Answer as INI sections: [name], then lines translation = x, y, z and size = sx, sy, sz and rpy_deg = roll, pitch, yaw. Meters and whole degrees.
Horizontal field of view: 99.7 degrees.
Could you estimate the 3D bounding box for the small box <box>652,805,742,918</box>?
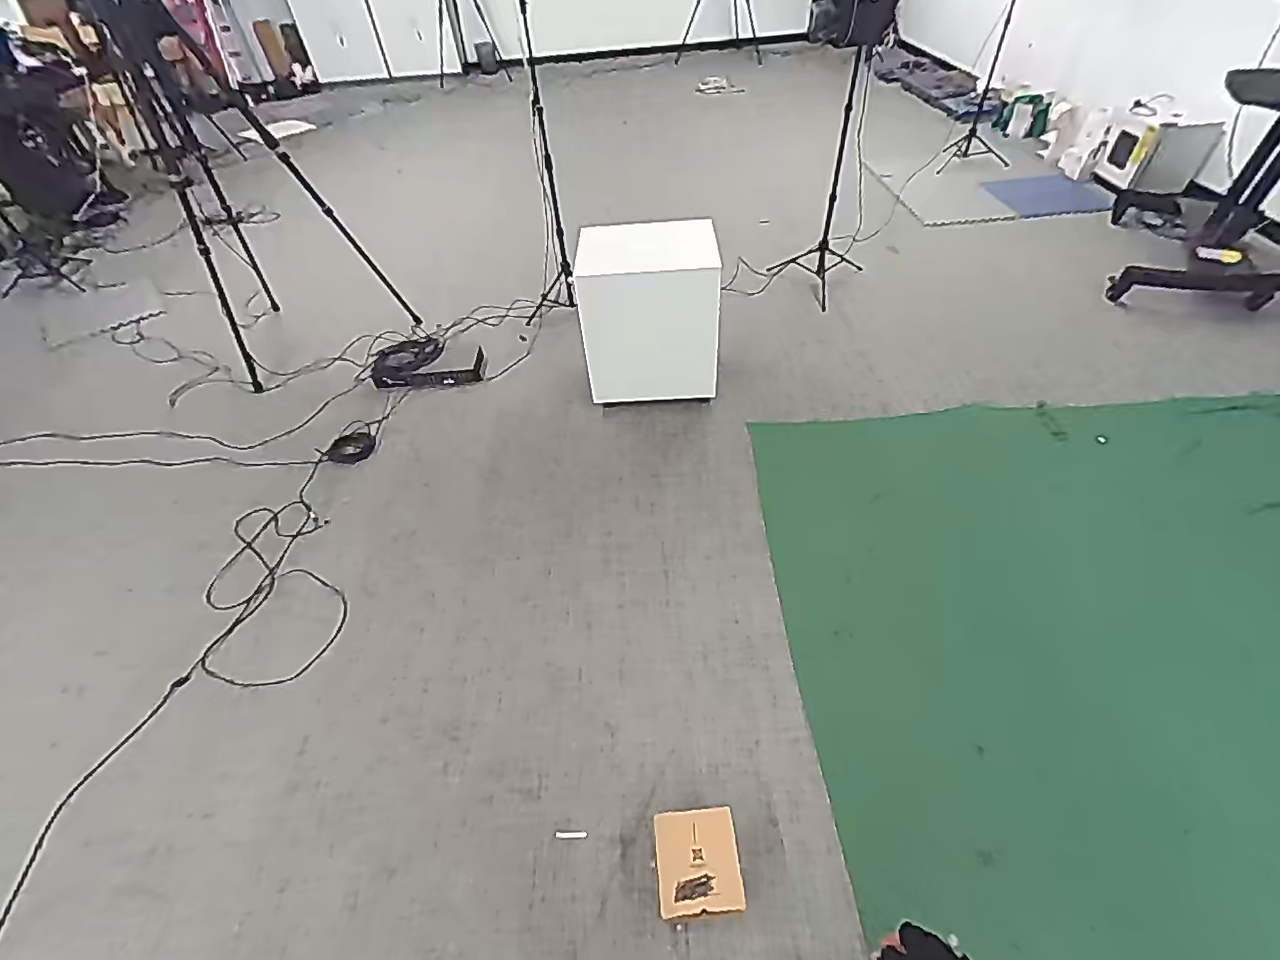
[small box]
translation = 0.118, 0.810, 1.144
size = 0.168, 0.176, 0.179
rpy_deg = -5, 47, 0
